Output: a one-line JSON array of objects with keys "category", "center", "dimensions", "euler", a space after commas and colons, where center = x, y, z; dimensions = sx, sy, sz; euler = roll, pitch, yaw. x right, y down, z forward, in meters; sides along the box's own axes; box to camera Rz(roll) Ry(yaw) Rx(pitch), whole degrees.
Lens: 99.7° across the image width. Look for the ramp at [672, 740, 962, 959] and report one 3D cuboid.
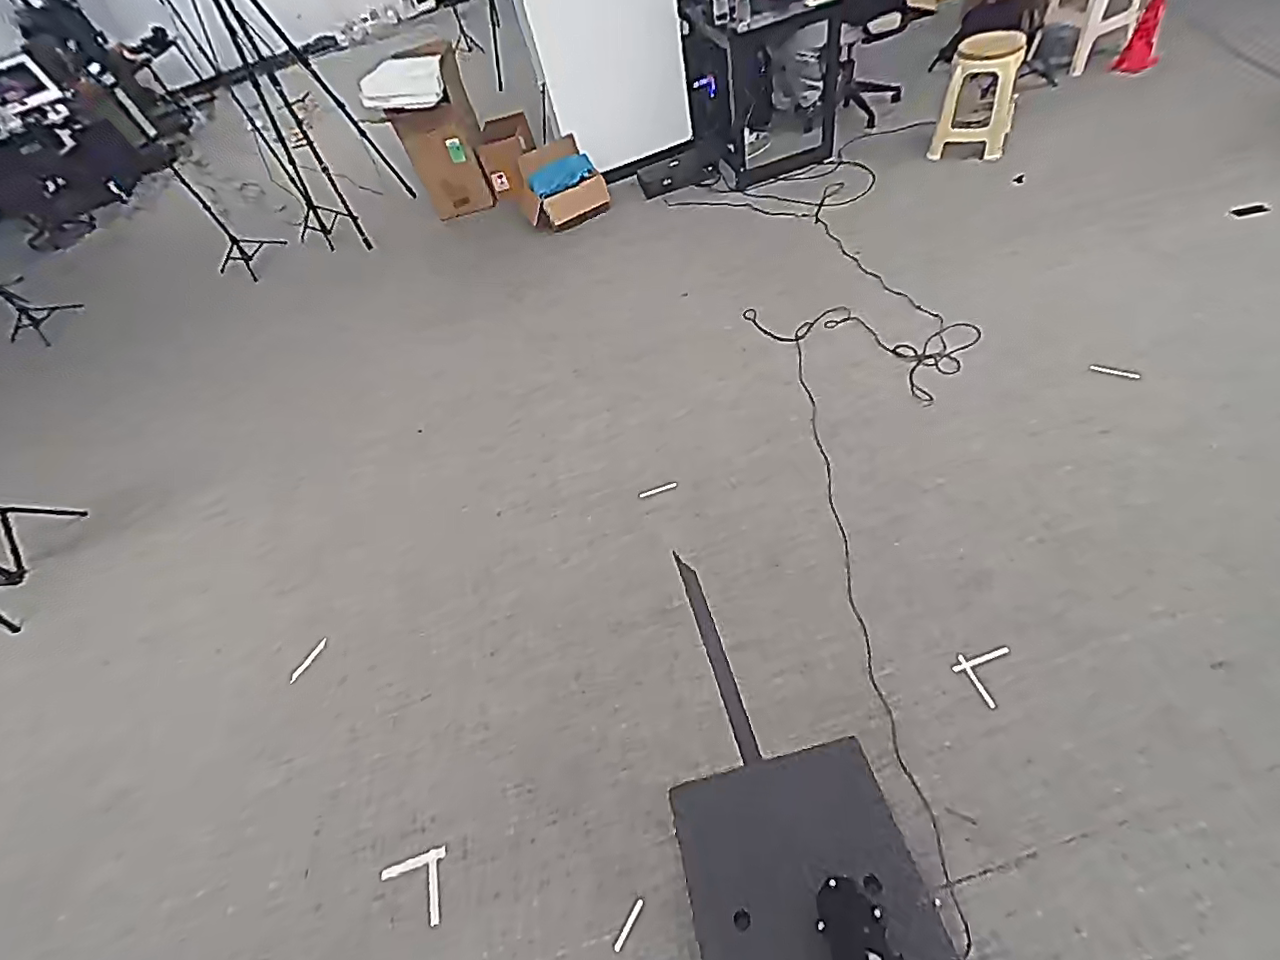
[{"category": "ramp", "center": [0.390, 1.030, 0.980], "dimensions": [0.509, 0.206, 0.991], "euler": [-19, 50, 2]}]
